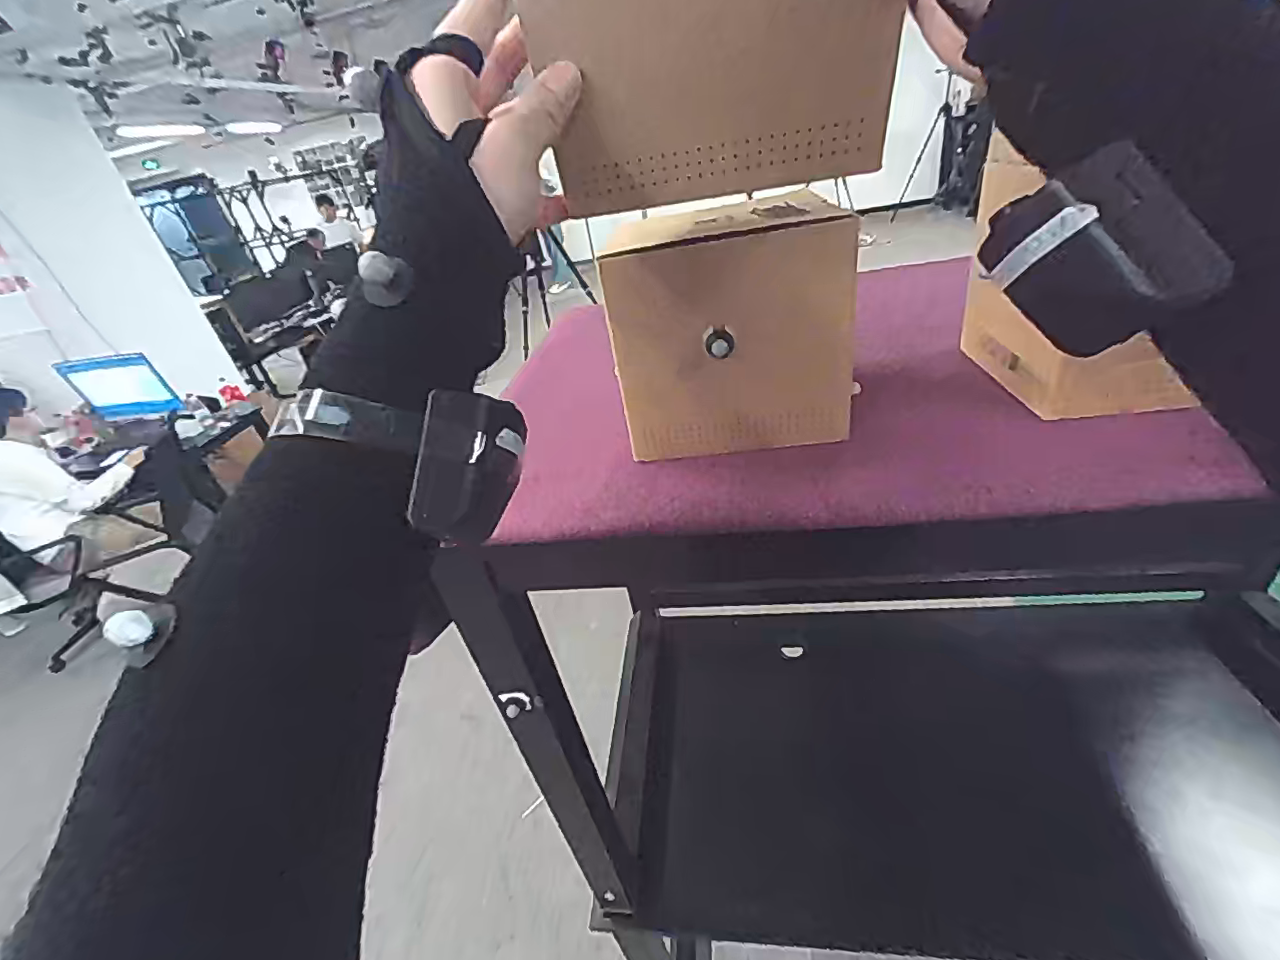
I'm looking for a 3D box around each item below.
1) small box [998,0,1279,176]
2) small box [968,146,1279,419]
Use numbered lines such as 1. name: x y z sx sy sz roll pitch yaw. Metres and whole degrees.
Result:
1. small box: 0.349 -0.296 0.331 0.179 0.176 0.168 -4 32 11
2. small box: 0.376 -0.156 0.415 0.179 0.176 0.168 -5 32 10
